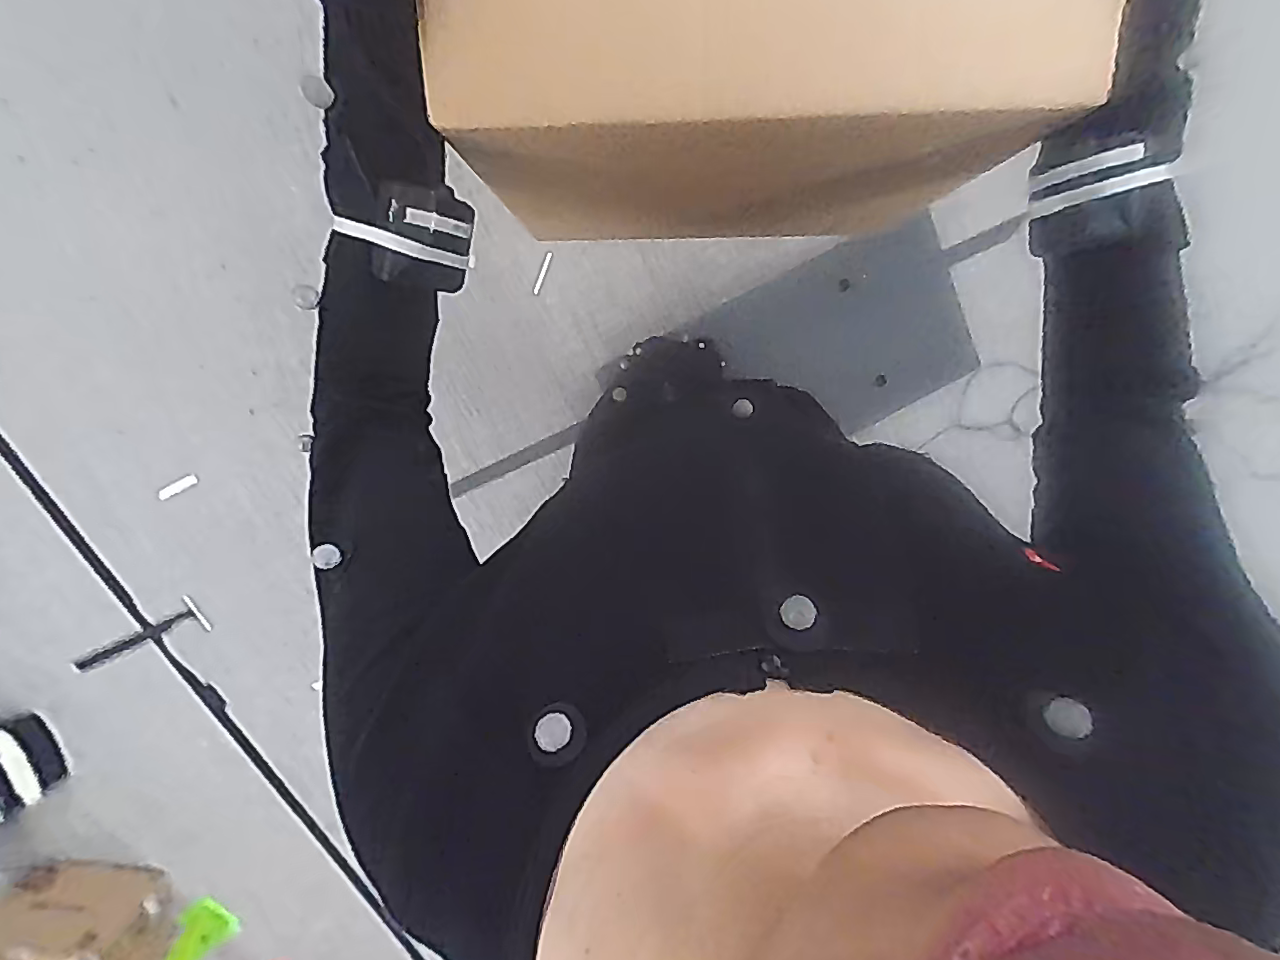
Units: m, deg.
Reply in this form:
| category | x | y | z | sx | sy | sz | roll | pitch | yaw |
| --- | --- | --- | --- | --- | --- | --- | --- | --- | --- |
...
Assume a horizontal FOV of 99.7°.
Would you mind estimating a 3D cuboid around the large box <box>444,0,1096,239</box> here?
| category | x | y | z | sx | sy | sz | roll | pitch | yaw |
| --- | --- | --- | --- | --- | --- | --- | --- | --- | --- |
| large box | 0.075 | -0.408 | 0.457 | 0.408 | 0.320 | 0.320 | -1 | 102 | 1 |

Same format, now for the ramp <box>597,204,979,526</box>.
| category | x | y | z | sx | sy | sz | roll | pitch | yaw |
| --- | --- | --- | --- | --- | --- | --- | --- | --- | --- |
| ramp | 0.427 | -0.311 | 1.494 | 0.991 | 0.206 | 0.509 | -28 | 101 | 9 |
